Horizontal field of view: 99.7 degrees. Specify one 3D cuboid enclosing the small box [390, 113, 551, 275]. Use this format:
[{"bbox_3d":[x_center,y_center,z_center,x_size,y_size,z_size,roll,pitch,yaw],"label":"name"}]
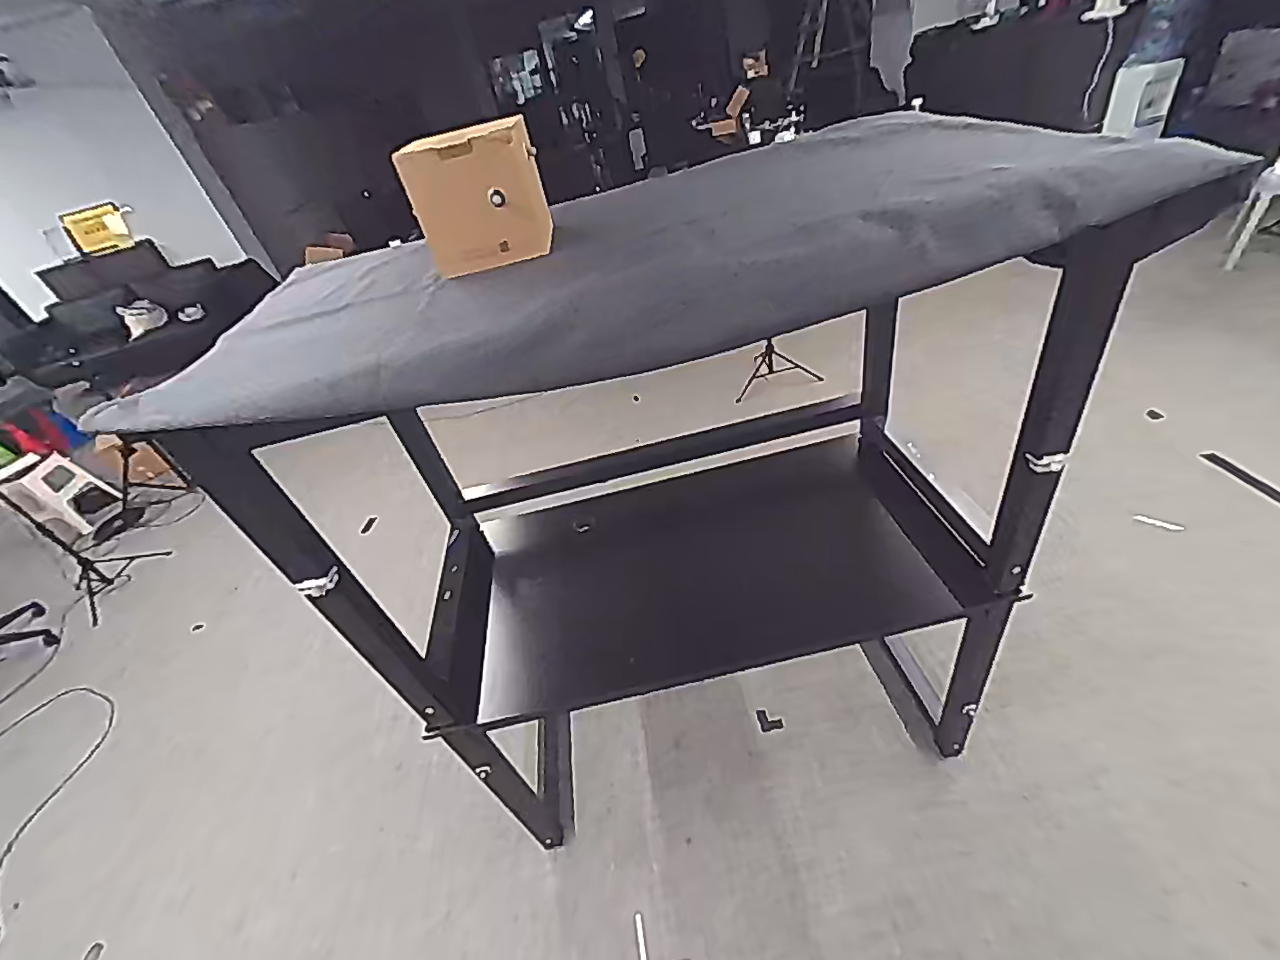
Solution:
[{"bbox_3d":[-0.237,-0.423,0.810,0.168,0.176,0.179,-12,39,3],"label":"small box"}]
